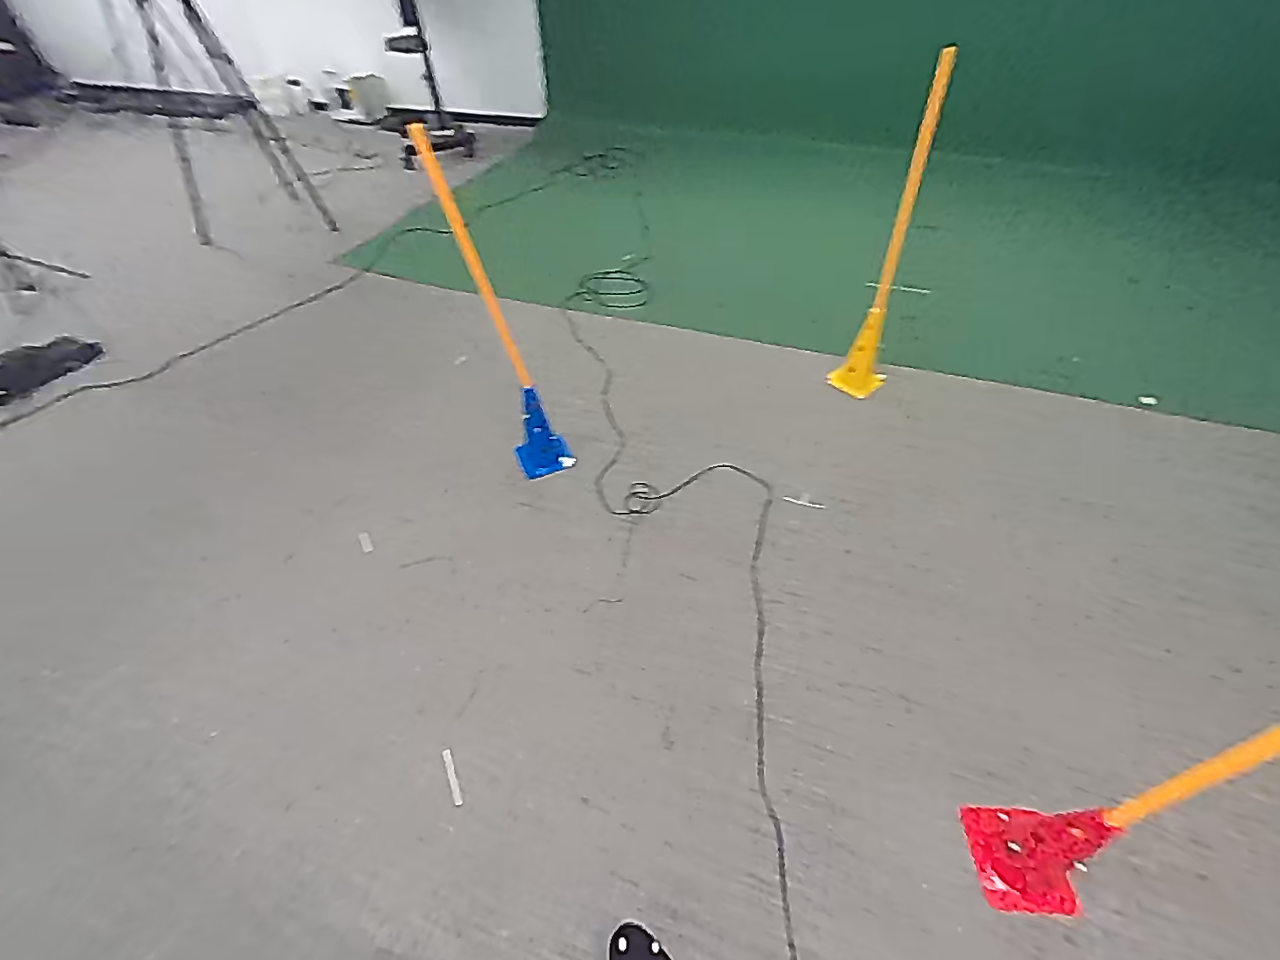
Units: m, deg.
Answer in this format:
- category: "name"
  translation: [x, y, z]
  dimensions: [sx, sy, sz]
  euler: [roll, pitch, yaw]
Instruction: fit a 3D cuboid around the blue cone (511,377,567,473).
- category: "blue cone"
  translation: [-0.405, -0.219, 2.018]
  dimensions: [0.193, 0.380, 0.192]
  euler: [-21, 51, -15]
